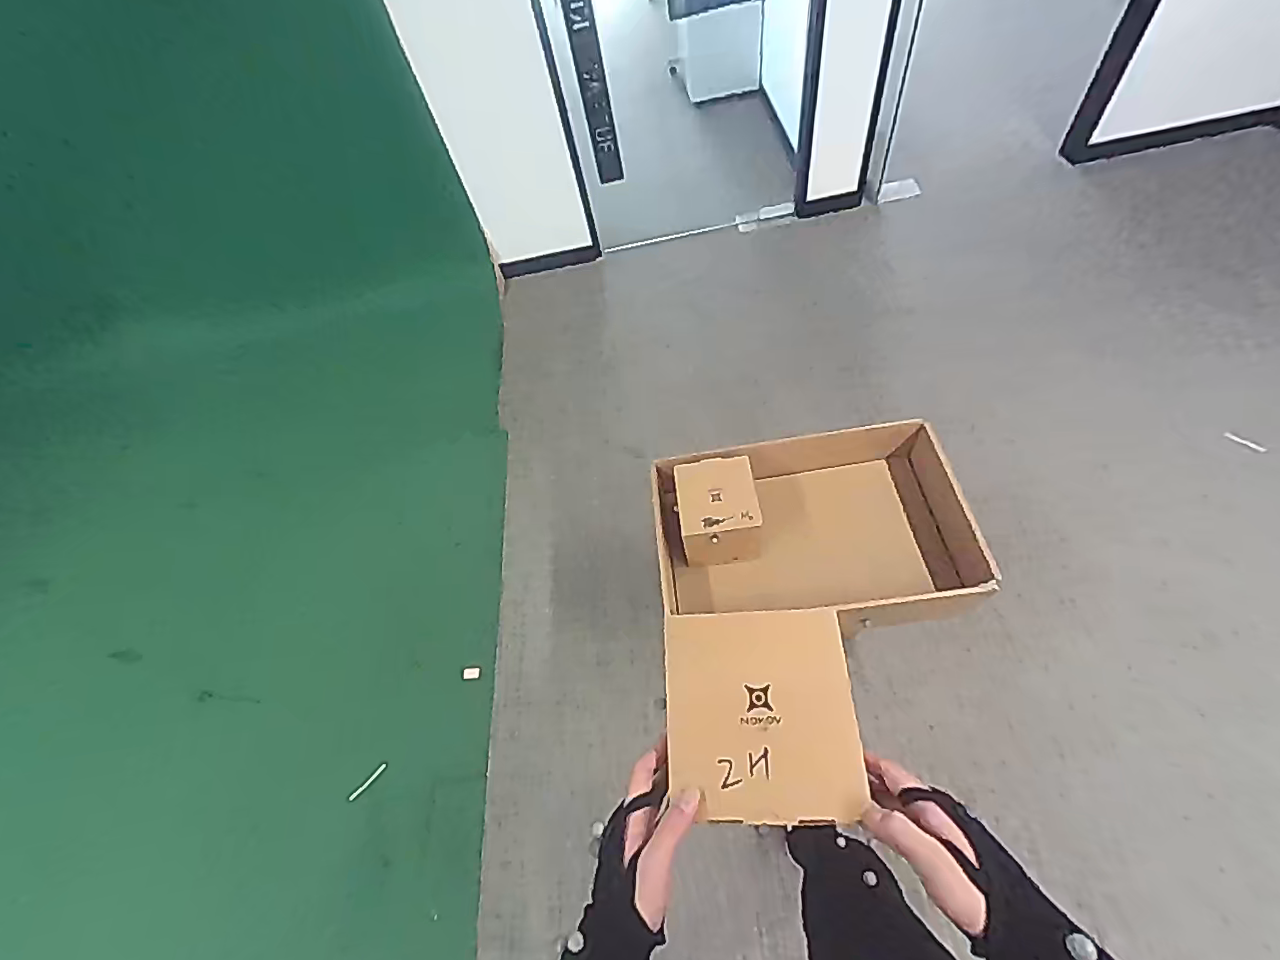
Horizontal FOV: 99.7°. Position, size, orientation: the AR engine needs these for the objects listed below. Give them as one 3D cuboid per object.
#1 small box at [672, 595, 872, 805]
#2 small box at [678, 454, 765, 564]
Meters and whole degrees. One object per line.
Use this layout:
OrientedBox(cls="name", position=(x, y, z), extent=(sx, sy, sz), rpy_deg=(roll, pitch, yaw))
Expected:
OrientedBox(cls="small box", position=(0.119, 0.229, 0.556), extent=(0.168, 0.176, 0.179), rpy_deg=(-3, 61, 7))
OrientedBox(cls="small box", position=(0.177, 0.066, 1.193), extent=(0.168, 0.176, 0.179), rpy_deg=(-7, 57, 6))
